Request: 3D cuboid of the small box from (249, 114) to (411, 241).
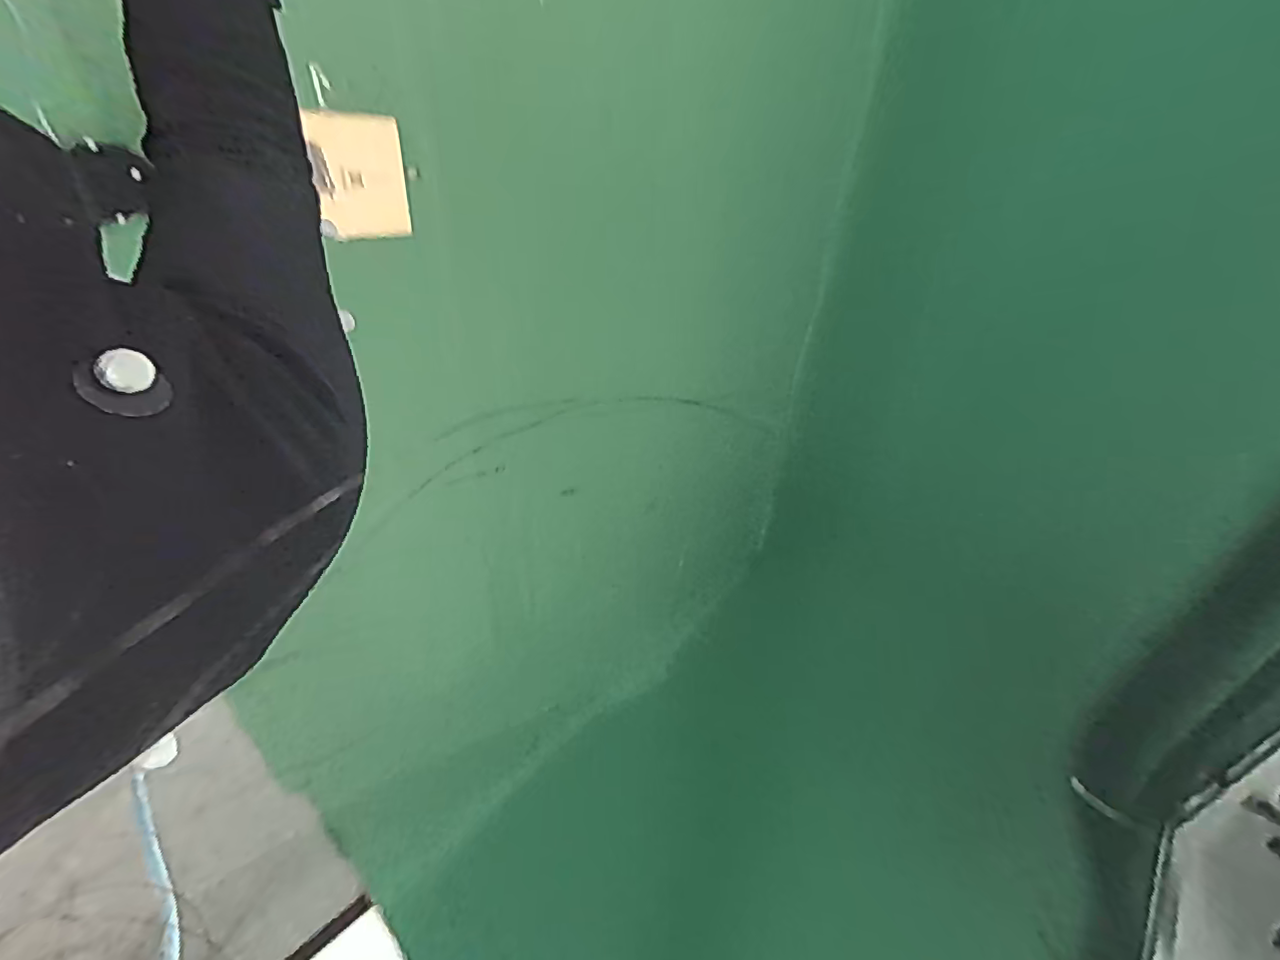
[{"bbox_3d":[-0.508,-0.494,0.886,0.179,0.176,0.168,-26,134,-40],"label":"small box"}]
